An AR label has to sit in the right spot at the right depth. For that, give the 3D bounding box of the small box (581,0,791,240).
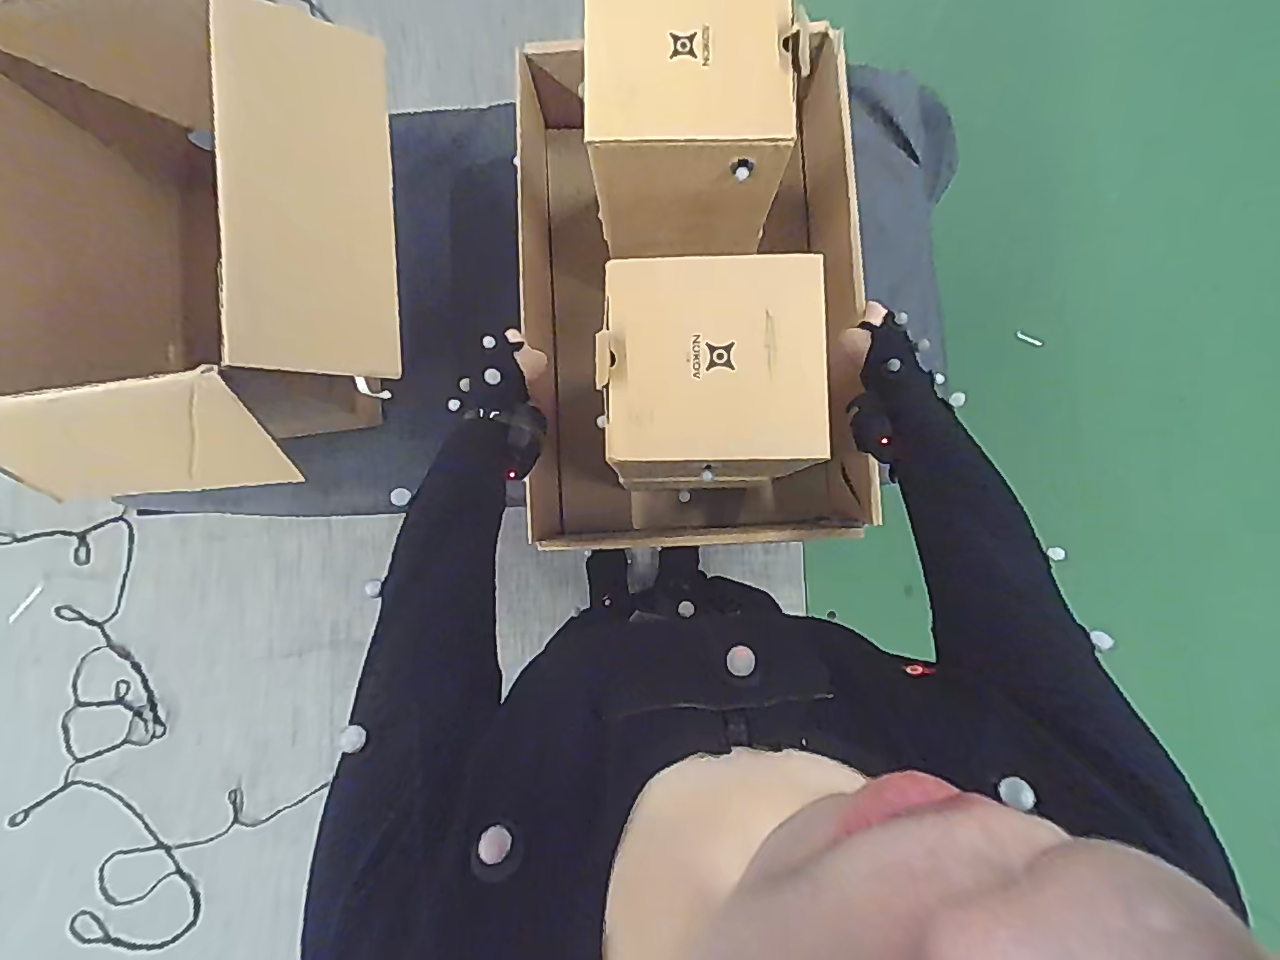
[{"bbox_3d":[0.040,-0.353,0.530,0.179,0.176,0.168,0,88,1],"label":"small box"}]
